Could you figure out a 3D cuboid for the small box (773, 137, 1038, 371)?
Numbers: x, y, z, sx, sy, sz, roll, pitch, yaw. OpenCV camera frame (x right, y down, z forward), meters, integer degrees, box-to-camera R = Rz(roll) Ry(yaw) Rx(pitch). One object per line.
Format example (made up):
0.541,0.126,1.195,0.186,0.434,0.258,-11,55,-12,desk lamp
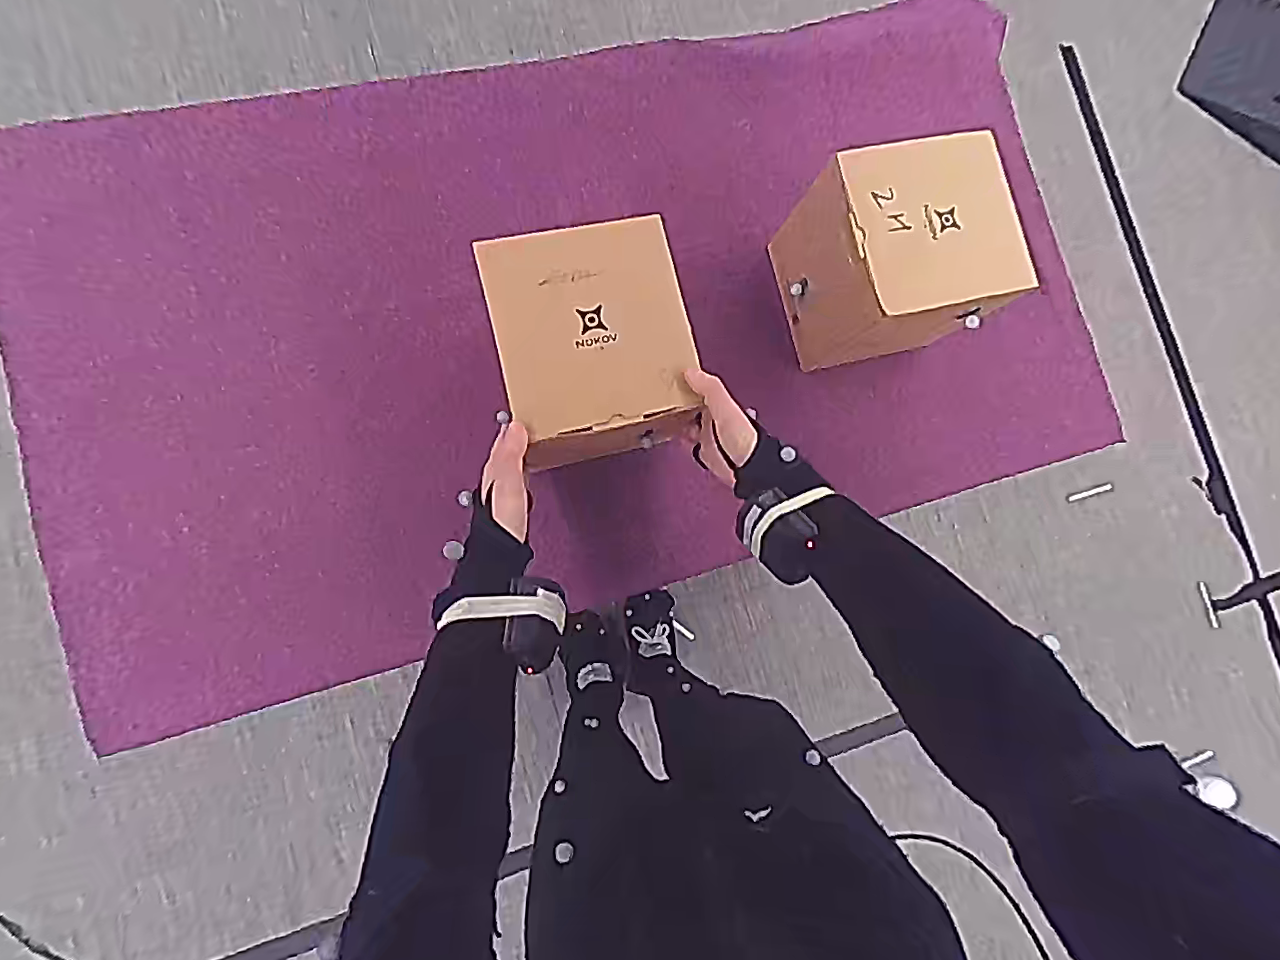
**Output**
0.273,-0.234,0.593,0.179,0.176,0.168,-13,86,-9,small box

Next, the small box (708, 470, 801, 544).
0.272,0.067,1.306,0.179,0.176,0.168,2,85,-8,small box

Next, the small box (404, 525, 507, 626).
-0.395,0.201,1.187,0.168,0.176,0.179,-14,86,-11,small box

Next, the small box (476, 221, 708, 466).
-0.050,-0.117,0.532,0.168,0.176,0.179,-14,85,-11,small box
